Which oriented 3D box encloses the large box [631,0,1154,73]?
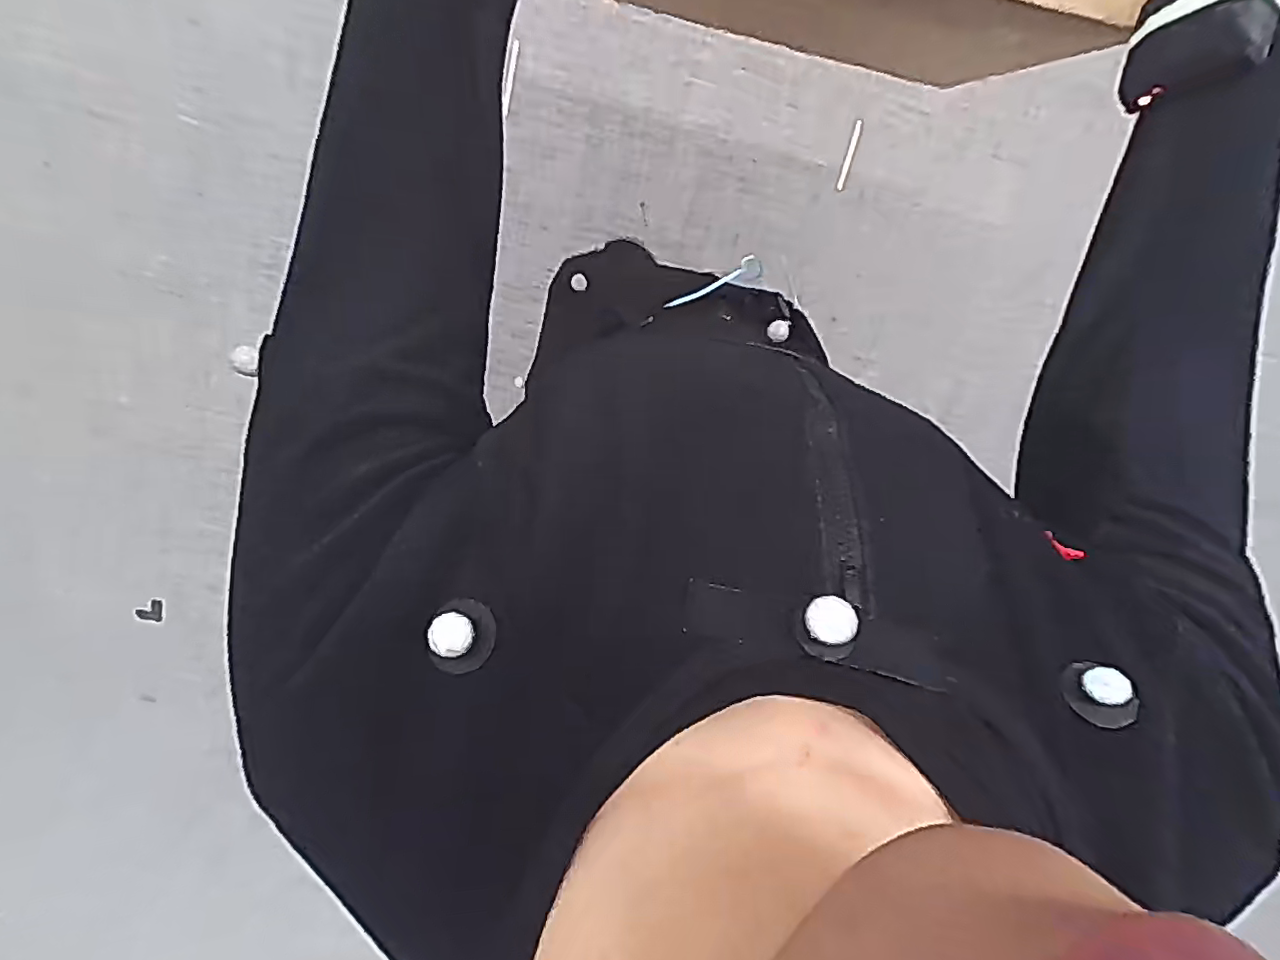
[{"bbox_3d":[0.178,-0.548,0.400,0.408,0.320,0.320,11,122,-4],"label":"large box"}]
